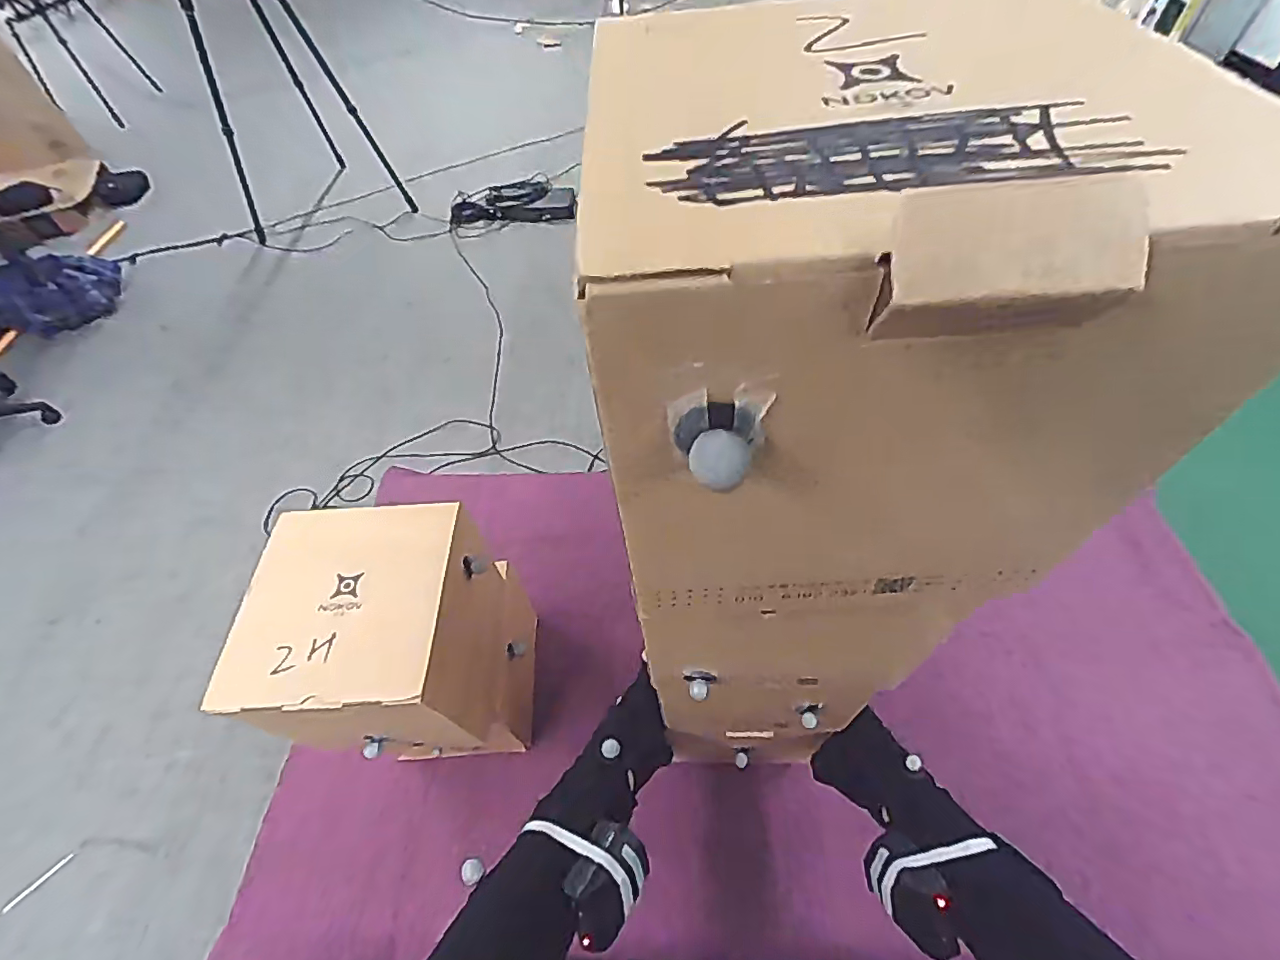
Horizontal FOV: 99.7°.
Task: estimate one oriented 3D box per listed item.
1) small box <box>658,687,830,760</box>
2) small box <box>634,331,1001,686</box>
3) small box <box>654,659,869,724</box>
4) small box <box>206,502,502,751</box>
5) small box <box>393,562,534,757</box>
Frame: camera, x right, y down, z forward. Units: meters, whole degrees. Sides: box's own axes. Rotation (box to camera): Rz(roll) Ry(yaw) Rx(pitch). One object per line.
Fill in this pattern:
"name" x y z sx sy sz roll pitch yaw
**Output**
"small box" 0.107 0.216 0.625 0.168 0.176 0.179 -5 53 4
"small box" 0.088 0.027 0.355 0.168 0.176 0.179 -1 53 4
"small box" 0.101 0.109 0.477 0.168 0.176 0.179 -2 53 4
"small box" -0.234 0.140 0.503 0.168 0.176 0.179 -4 55 1
"small box" -0.226 0.218 0.649 0.168 0.176 0.179 -5 55 0
